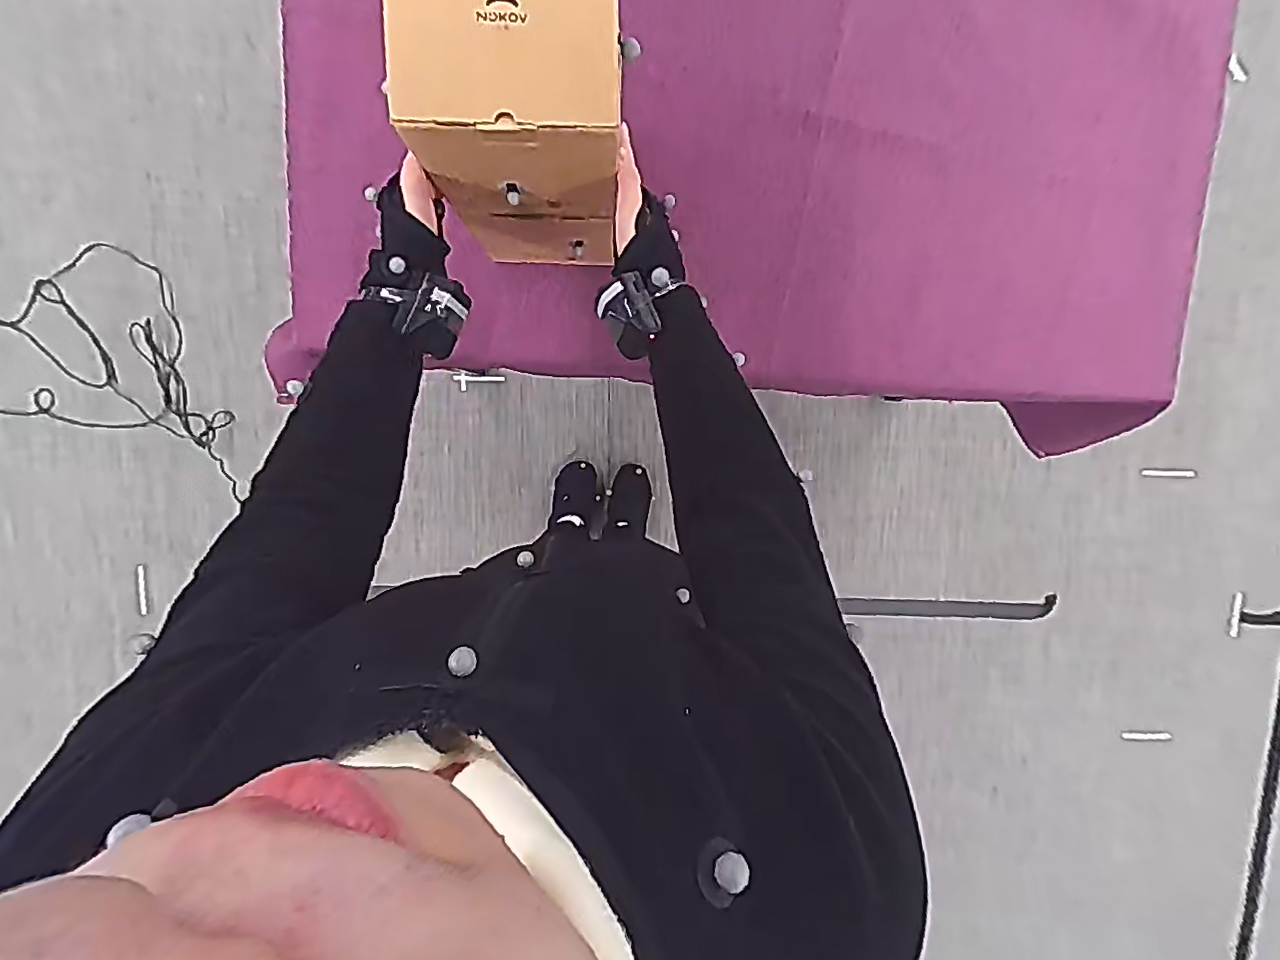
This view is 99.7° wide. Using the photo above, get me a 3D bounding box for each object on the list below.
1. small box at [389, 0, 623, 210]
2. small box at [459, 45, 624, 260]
[{"bbox_3d":[-0.100,-0.353,0.461,0.168,0.176,0.179,-1,98,-4],"label":"small box"},{"bbox_3d":[-0.103,-0.365,0.623,0.168,0.176,0.179,1,97,-3],"label":"small box"}]
